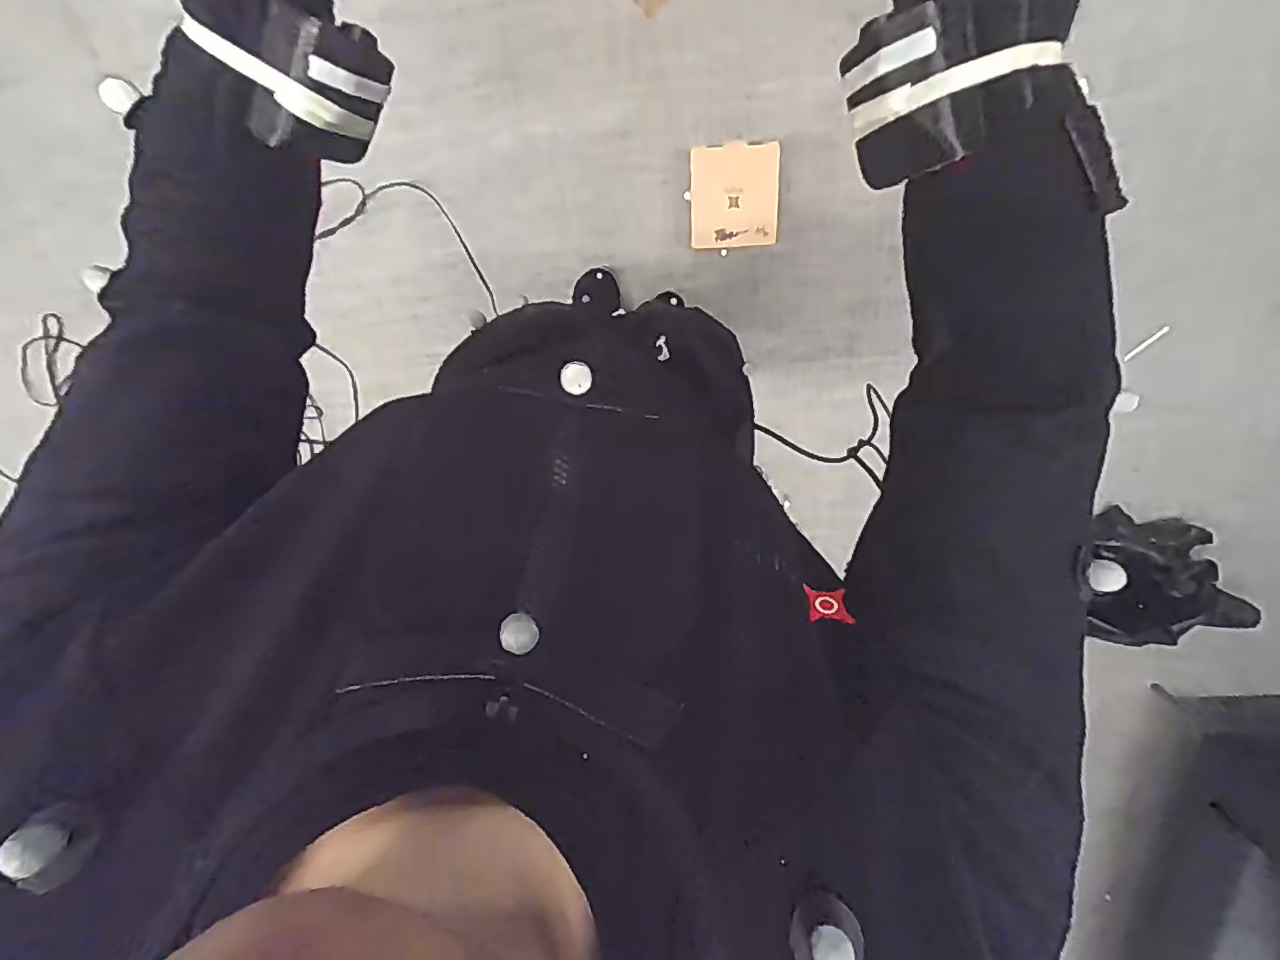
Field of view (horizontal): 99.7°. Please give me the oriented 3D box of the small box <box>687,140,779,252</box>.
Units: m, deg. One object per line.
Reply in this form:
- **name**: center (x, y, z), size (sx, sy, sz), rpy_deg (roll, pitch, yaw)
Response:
- **small box**: center (0.180, -0.564, 1.093), size (0.168, 0.176, 0.179), rpy_deg (-1, 110, 5)
